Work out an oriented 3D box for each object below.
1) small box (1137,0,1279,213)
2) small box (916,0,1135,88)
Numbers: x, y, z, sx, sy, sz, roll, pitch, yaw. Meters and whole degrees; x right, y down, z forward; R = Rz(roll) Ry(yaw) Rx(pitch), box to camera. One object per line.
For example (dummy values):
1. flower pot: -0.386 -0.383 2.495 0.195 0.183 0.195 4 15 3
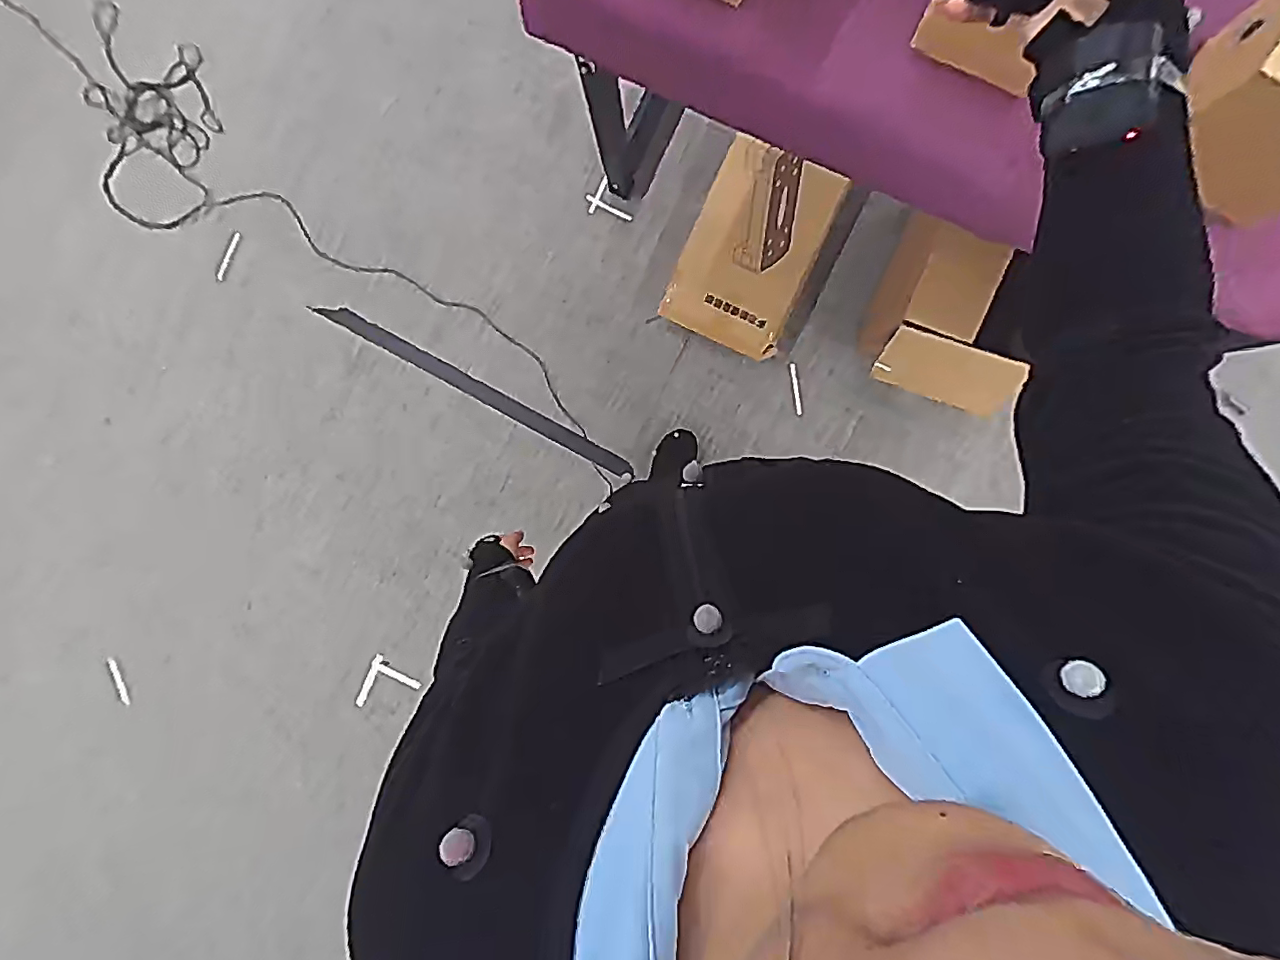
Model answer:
1. small box: 0.734 -0.436 0.603 0.179 0.176 0.168 32 96 1
2. small box: 0.457 -0.593 0.608 0.179 0.176 0.168 25 93 2
